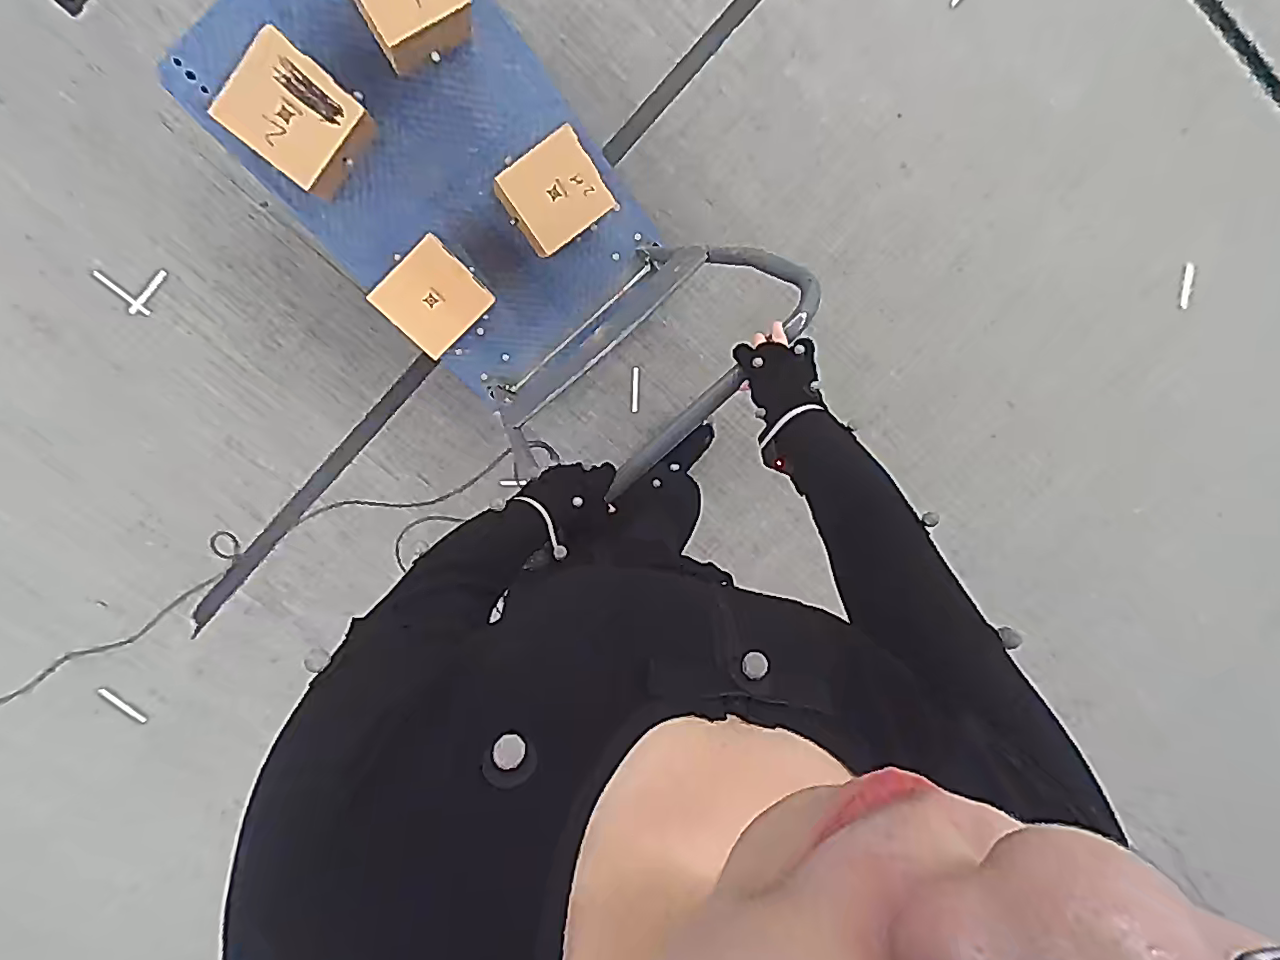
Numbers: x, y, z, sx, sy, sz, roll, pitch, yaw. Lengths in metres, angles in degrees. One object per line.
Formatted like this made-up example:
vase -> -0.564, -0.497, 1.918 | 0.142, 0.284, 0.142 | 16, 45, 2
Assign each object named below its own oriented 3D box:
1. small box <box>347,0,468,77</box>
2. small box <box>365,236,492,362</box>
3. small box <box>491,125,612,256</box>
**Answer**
small box -> -0.417, -0.847, 0.931 | 0.168, 0.176, 0.179 | -33, 117, -3
small box -> -0.425, -0.369, 1.113 | 0.179, 0.176, 0.168 | -45, 116, 1
small box -> -0.185, -0.578, 1.108 | 0.179, 0.176, 0.168 | -38, 117, -1
